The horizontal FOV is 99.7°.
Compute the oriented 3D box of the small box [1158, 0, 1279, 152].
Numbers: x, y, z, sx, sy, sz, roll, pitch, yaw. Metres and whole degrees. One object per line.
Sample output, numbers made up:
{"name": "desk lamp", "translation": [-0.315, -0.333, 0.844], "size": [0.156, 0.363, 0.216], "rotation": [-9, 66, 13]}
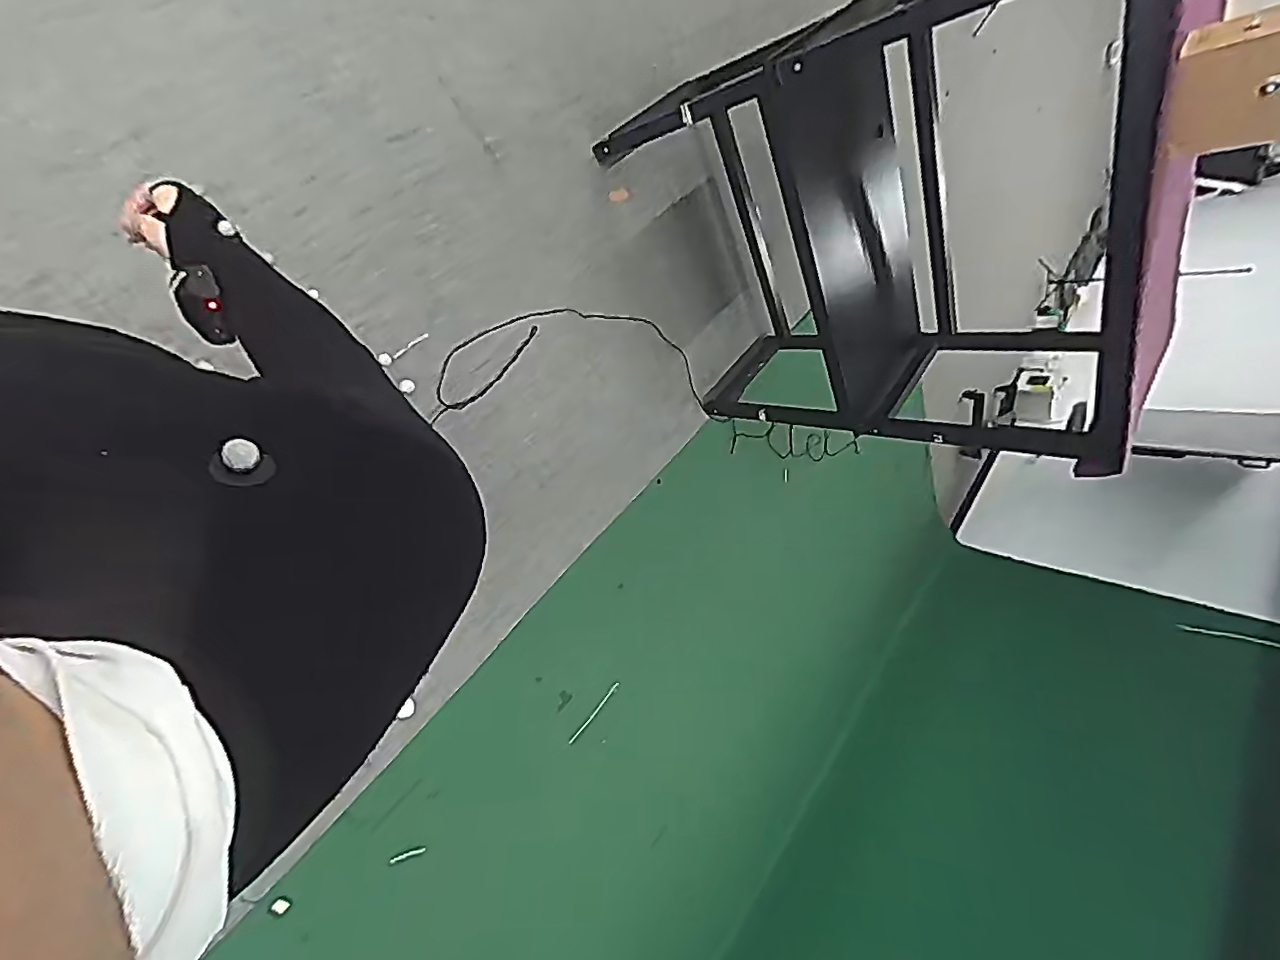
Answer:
{"name": "small box", "translation": [1.056, -0.724, 0.964], "size": [0.168, 0.176, 0.179], "rotation": [-46, 128, -26]}
